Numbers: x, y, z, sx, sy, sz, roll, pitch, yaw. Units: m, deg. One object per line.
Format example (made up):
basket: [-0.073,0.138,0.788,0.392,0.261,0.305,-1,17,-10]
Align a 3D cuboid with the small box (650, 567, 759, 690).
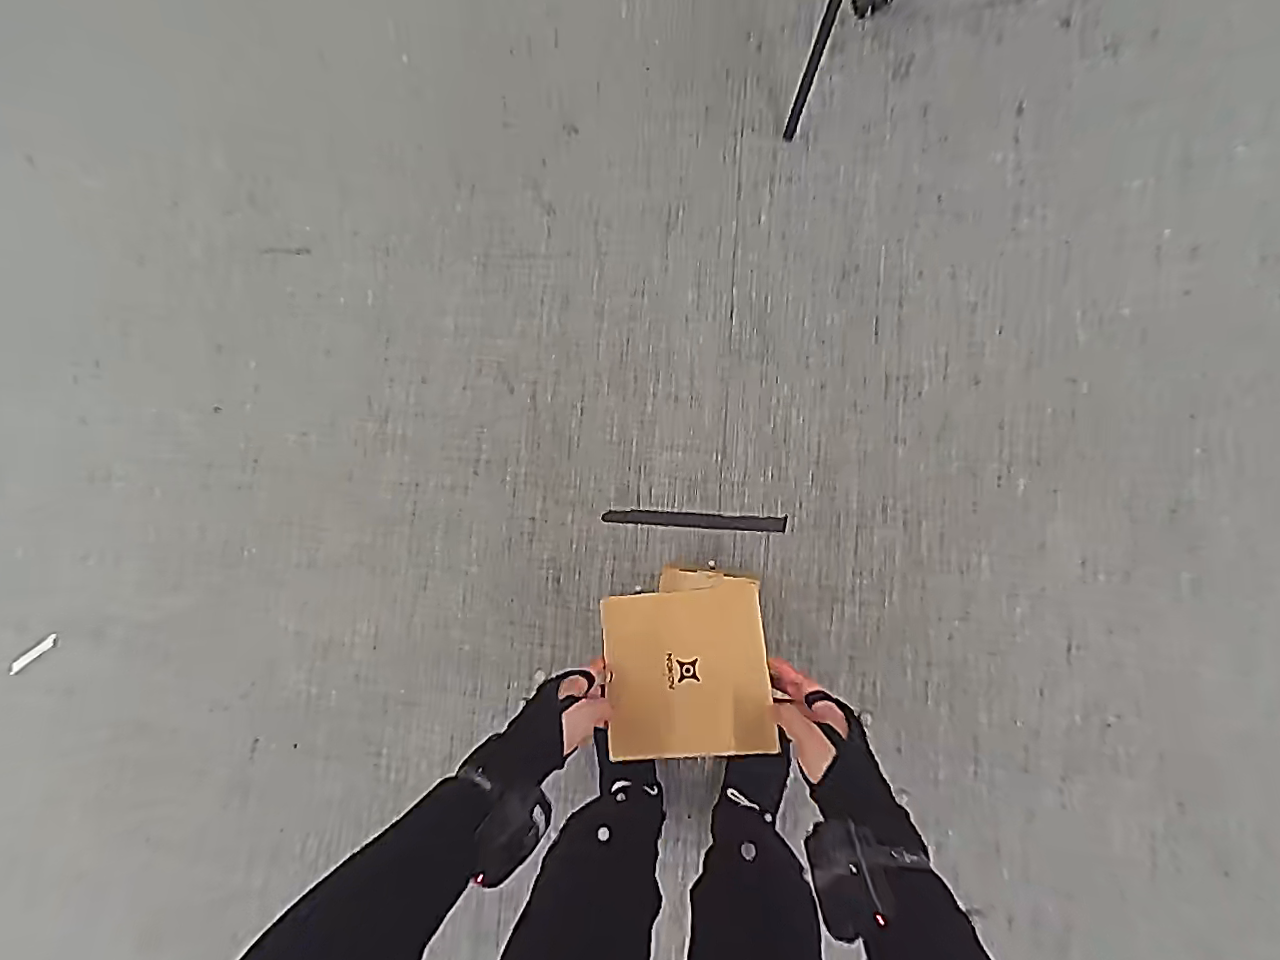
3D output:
small box: [0.118,0.258,0.975,0.168,0.176,0.179,6,84,8]
